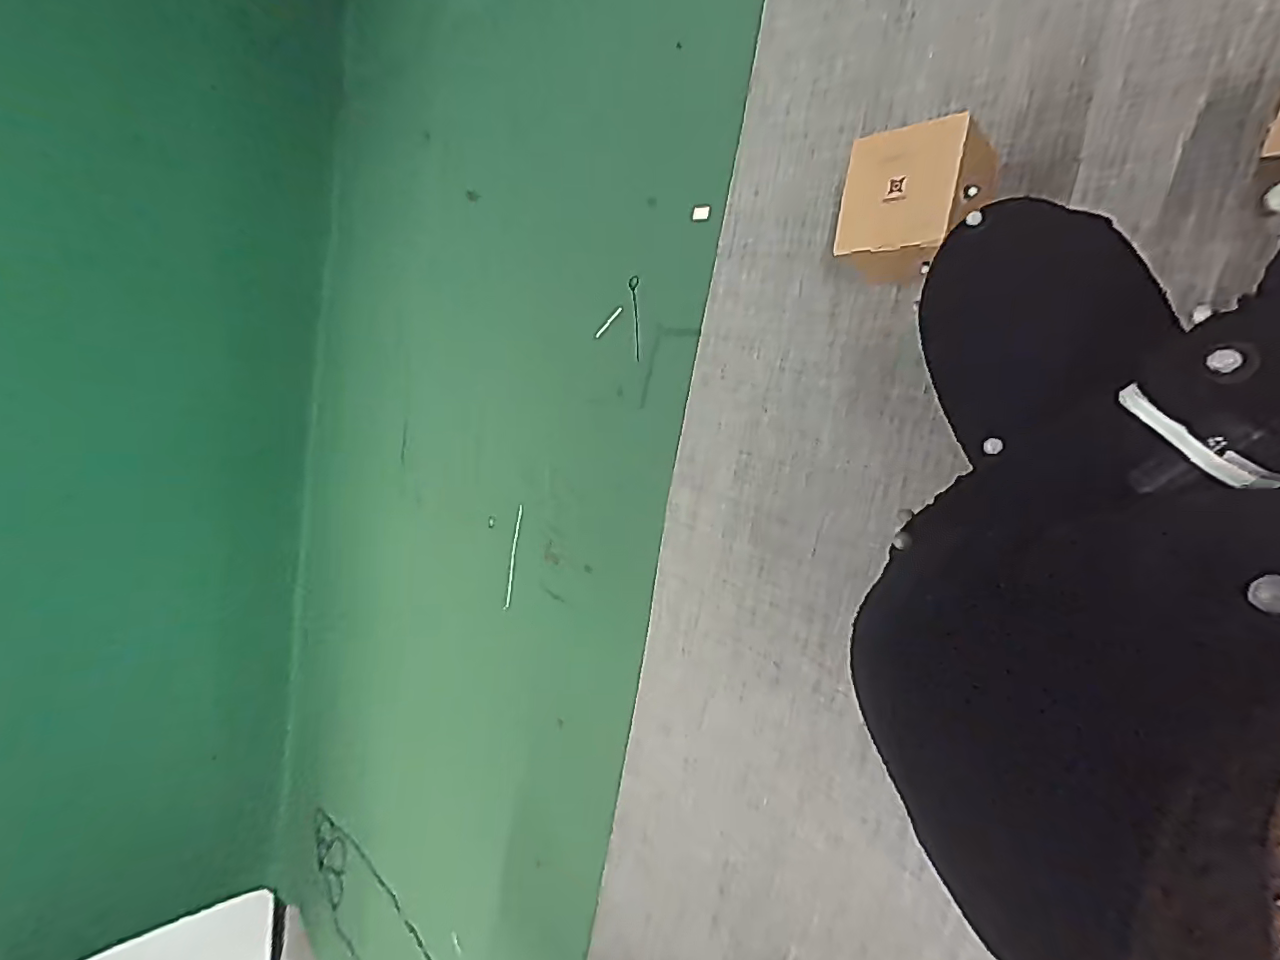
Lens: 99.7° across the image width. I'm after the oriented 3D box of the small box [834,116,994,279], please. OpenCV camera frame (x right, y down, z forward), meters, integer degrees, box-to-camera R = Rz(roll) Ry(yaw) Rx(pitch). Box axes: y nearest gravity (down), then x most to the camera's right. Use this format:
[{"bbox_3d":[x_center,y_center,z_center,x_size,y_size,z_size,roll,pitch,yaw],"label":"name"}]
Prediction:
[{"bbox_3d":[0.436,-0.427,0.858,0.168,0.176,0.179,16,100,44],"label":"small box"}]
